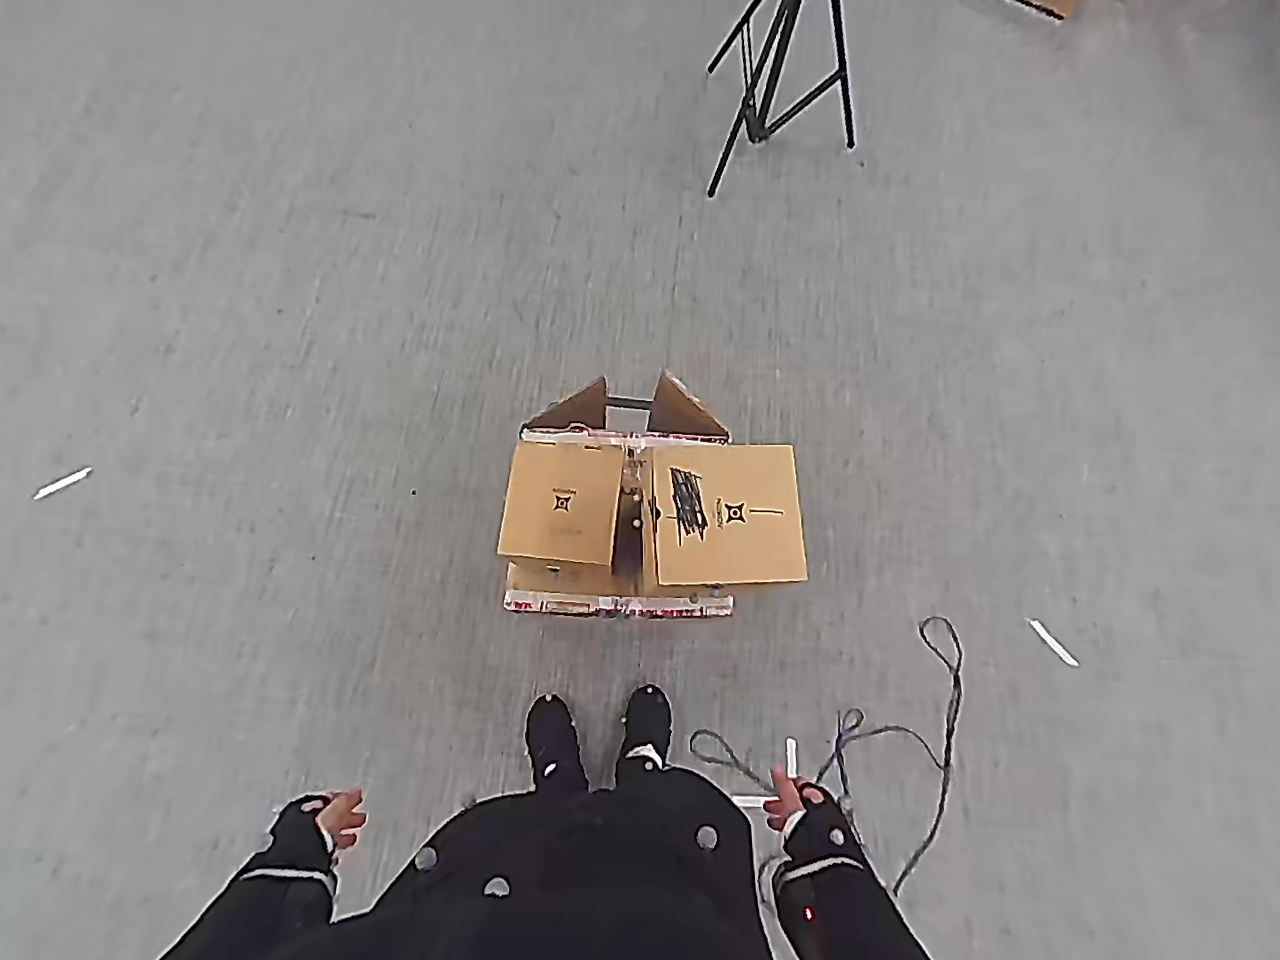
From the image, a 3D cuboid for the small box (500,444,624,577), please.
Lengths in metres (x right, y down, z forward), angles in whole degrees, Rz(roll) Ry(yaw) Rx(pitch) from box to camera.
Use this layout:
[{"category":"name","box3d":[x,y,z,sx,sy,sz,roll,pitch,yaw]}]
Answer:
[{"category":"small box","box3d":[-0.117,0.056,0.877,0.168,0.176,0.179,5,76,0]}]

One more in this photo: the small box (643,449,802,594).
[{"category":"small box","box3d":[0.095,0.062,0.717,0.179,0.176,0.168,-1,76,-5]}]

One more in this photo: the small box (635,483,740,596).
[{"category":"small box","box3d":[0.085,0.100,0.880,0.179,0.176,0.168,-1,75,-4]}]
